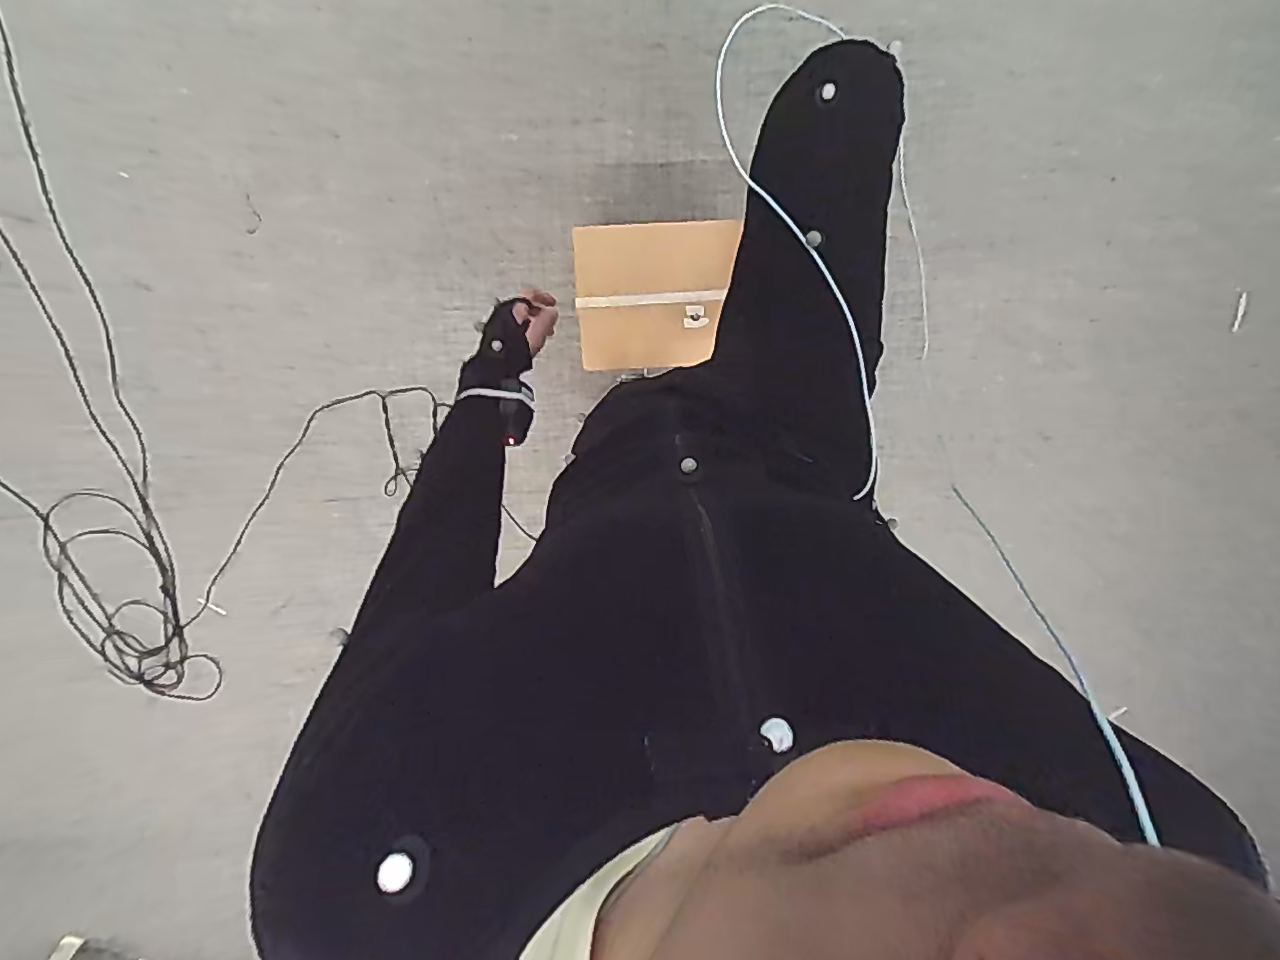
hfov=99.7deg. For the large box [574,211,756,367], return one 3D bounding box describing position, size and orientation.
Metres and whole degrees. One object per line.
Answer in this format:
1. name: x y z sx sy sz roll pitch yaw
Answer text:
1. large box: 0.057 -0.470 1.375 0.408 0.320 0.320 -5 107 -1
